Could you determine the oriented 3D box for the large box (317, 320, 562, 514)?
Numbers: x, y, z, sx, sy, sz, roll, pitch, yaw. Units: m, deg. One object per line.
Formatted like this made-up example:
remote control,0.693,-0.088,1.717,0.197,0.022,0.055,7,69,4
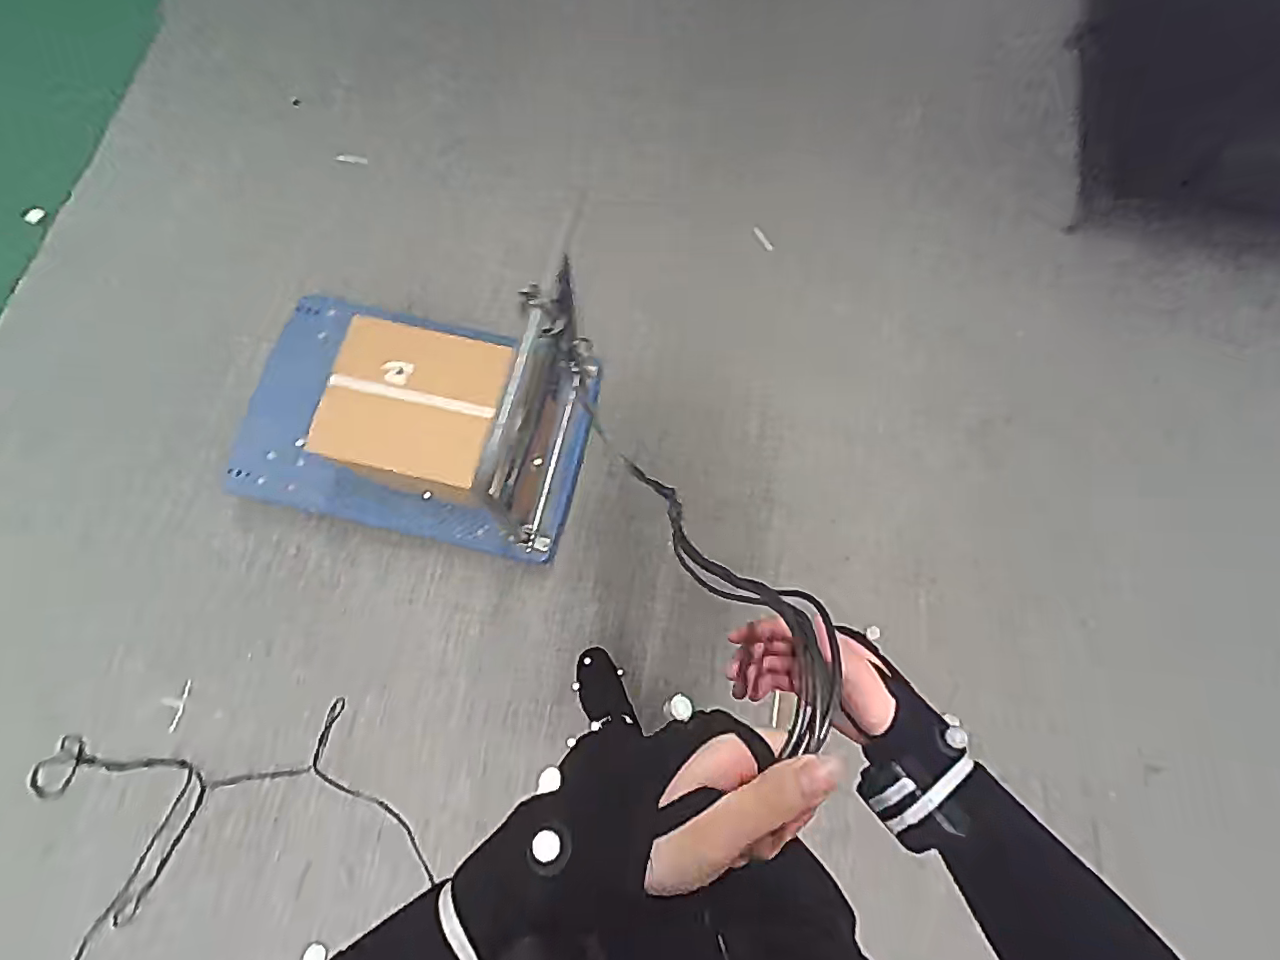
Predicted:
large box,-0.428,-0.127,1.261,0.408,0.320,0.320,13,76,4
